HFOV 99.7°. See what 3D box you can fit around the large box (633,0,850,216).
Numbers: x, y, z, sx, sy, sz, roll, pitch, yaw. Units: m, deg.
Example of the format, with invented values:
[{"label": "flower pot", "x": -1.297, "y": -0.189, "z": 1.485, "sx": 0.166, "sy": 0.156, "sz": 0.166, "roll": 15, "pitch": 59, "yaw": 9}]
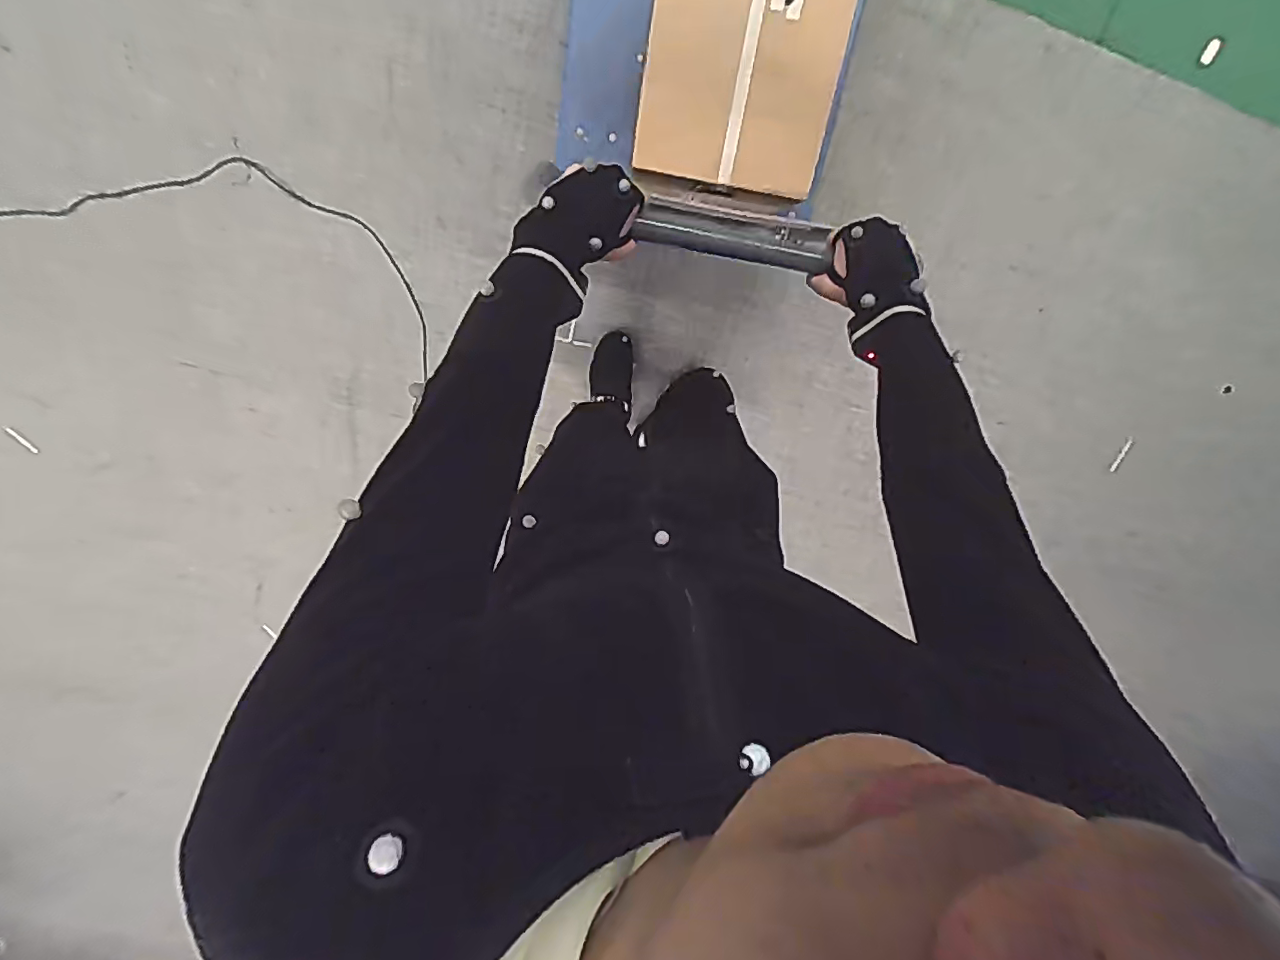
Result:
[{"label": "large box", "x": 0.162, "y": -0.744, "z": 1.005, "sx": 0.320, "sy": 0.320, "sz": 0.408, "roll": 7, "pitch": 110, "yaw": -6}]
